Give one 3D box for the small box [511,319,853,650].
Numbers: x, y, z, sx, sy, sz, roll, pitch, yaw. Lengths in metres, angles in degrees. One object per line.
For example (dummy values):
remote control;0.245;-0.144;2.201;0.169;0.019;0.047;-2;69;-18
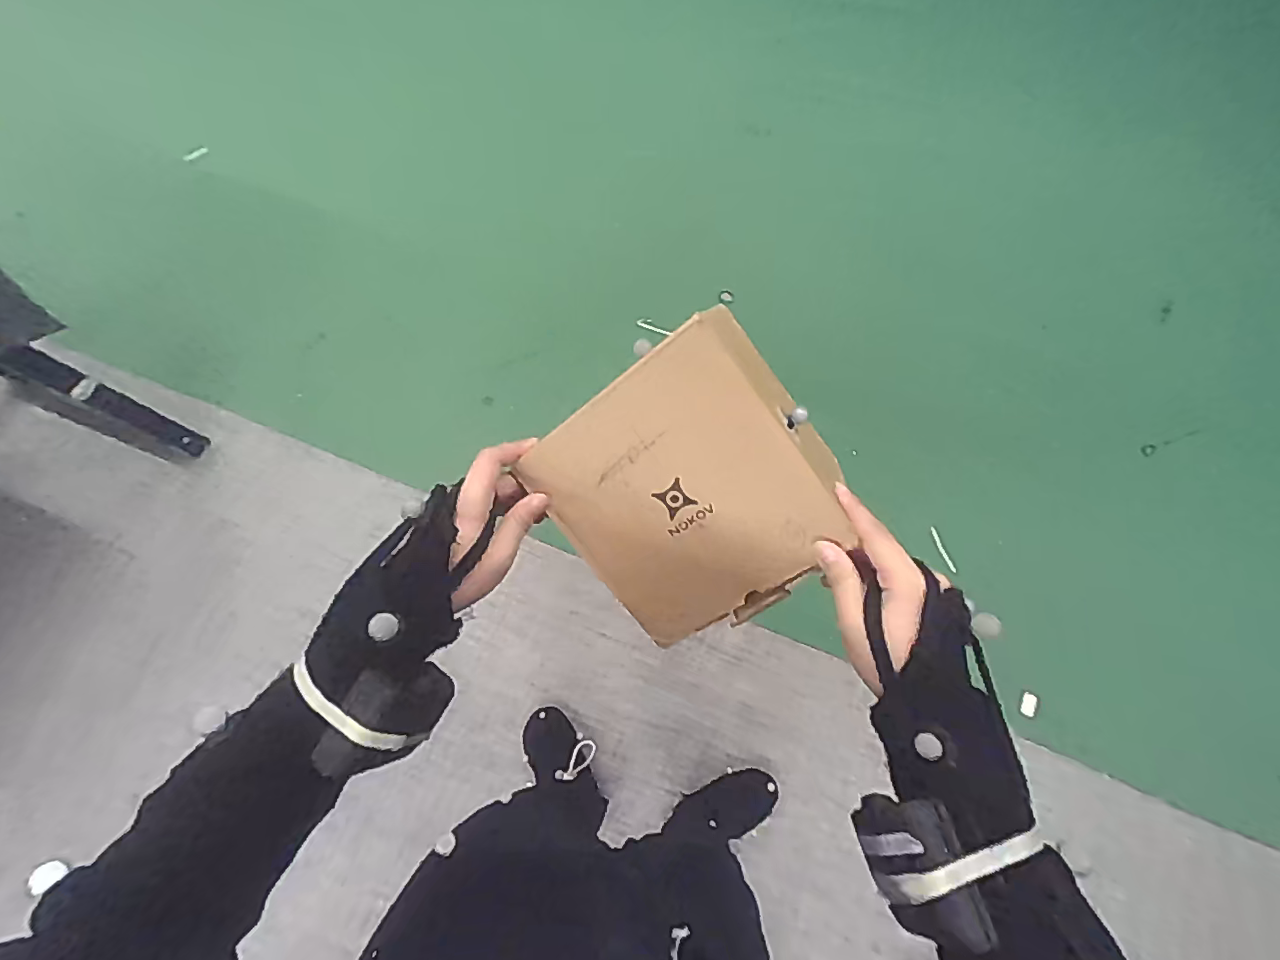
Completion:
small box;0.040;-0.009;0.429;0.168;0.176;0.179;-36;98;21
